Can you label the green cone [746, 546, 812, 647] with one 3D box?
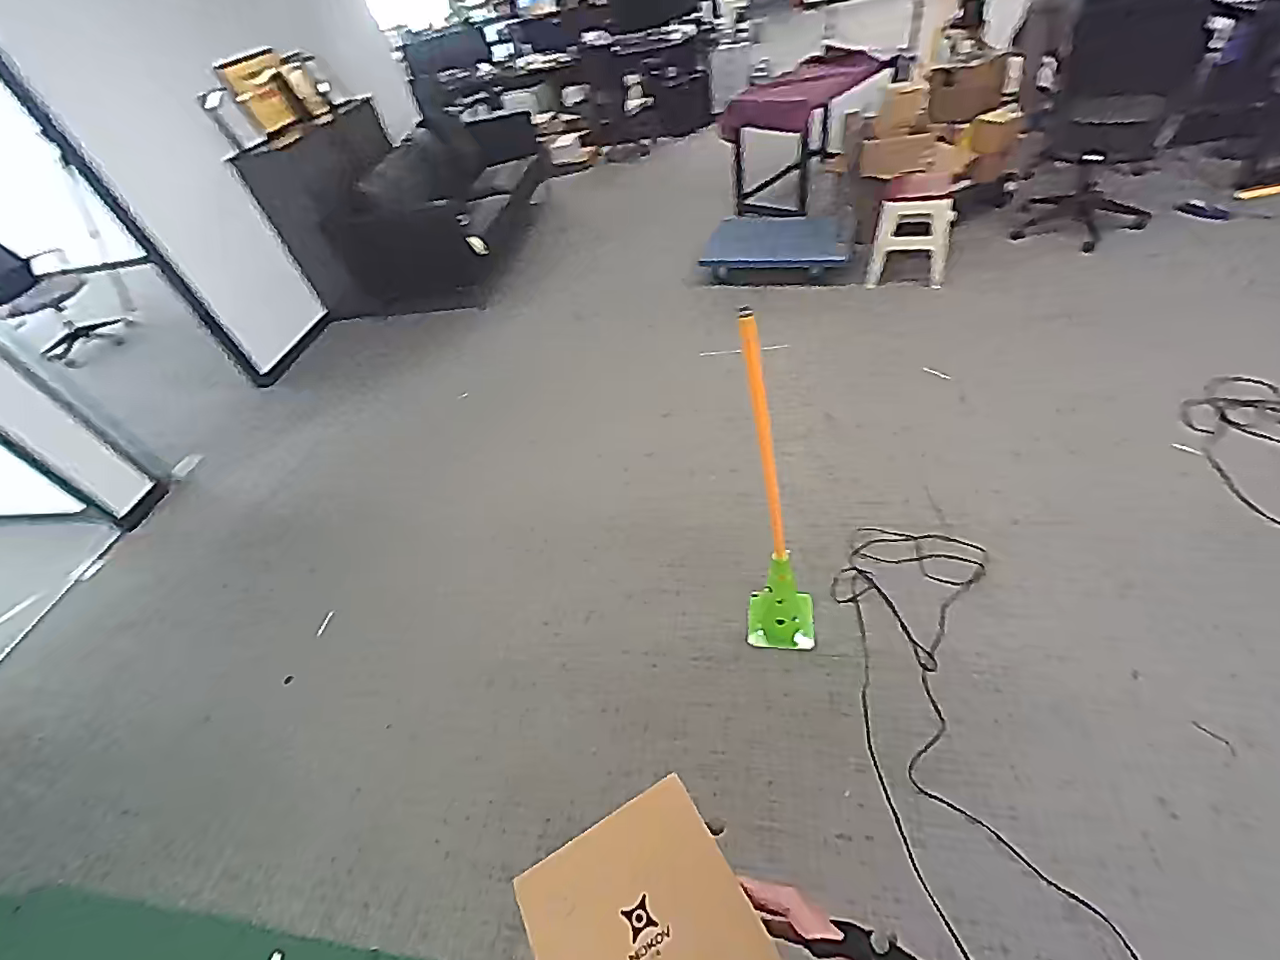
[{"bbox_3d":[0.419,0.323,1.616,0.202,0.368,0.200,0,47,12],"label":"green cone"}]
